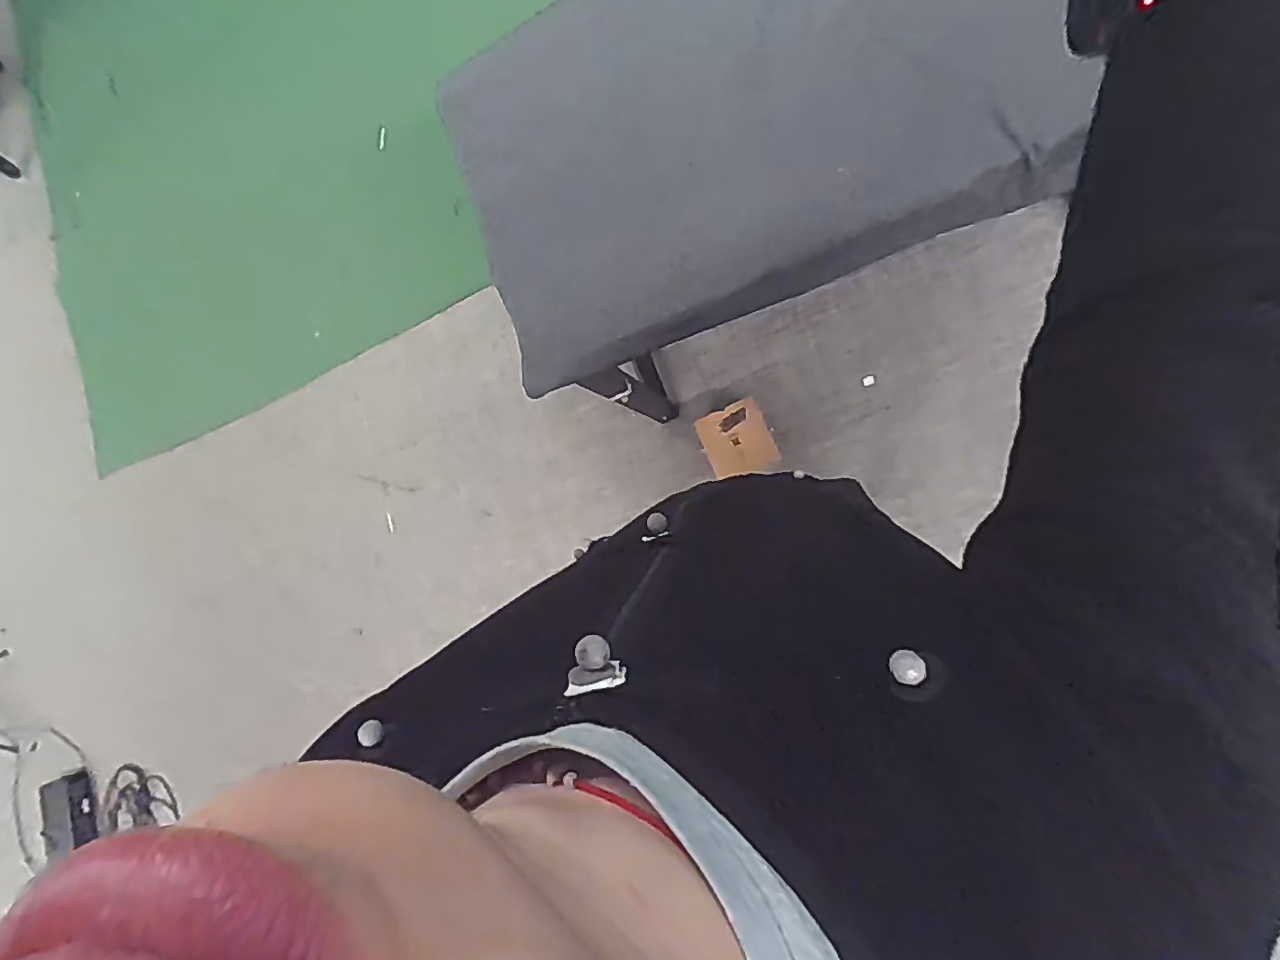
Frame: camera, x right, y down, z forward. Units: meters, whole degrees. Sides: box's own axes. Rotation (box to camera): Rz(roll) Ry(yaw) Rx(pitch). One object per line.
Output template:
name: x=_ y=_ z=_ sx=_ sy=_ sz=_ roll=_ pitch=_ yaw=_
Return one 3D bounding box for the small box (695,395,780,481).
small box: x=0.264 y=-0.104 z=1.445 sx=0.168 sy=0.176 sz=0.179 roll=-24 pitch=83 yaw=16
